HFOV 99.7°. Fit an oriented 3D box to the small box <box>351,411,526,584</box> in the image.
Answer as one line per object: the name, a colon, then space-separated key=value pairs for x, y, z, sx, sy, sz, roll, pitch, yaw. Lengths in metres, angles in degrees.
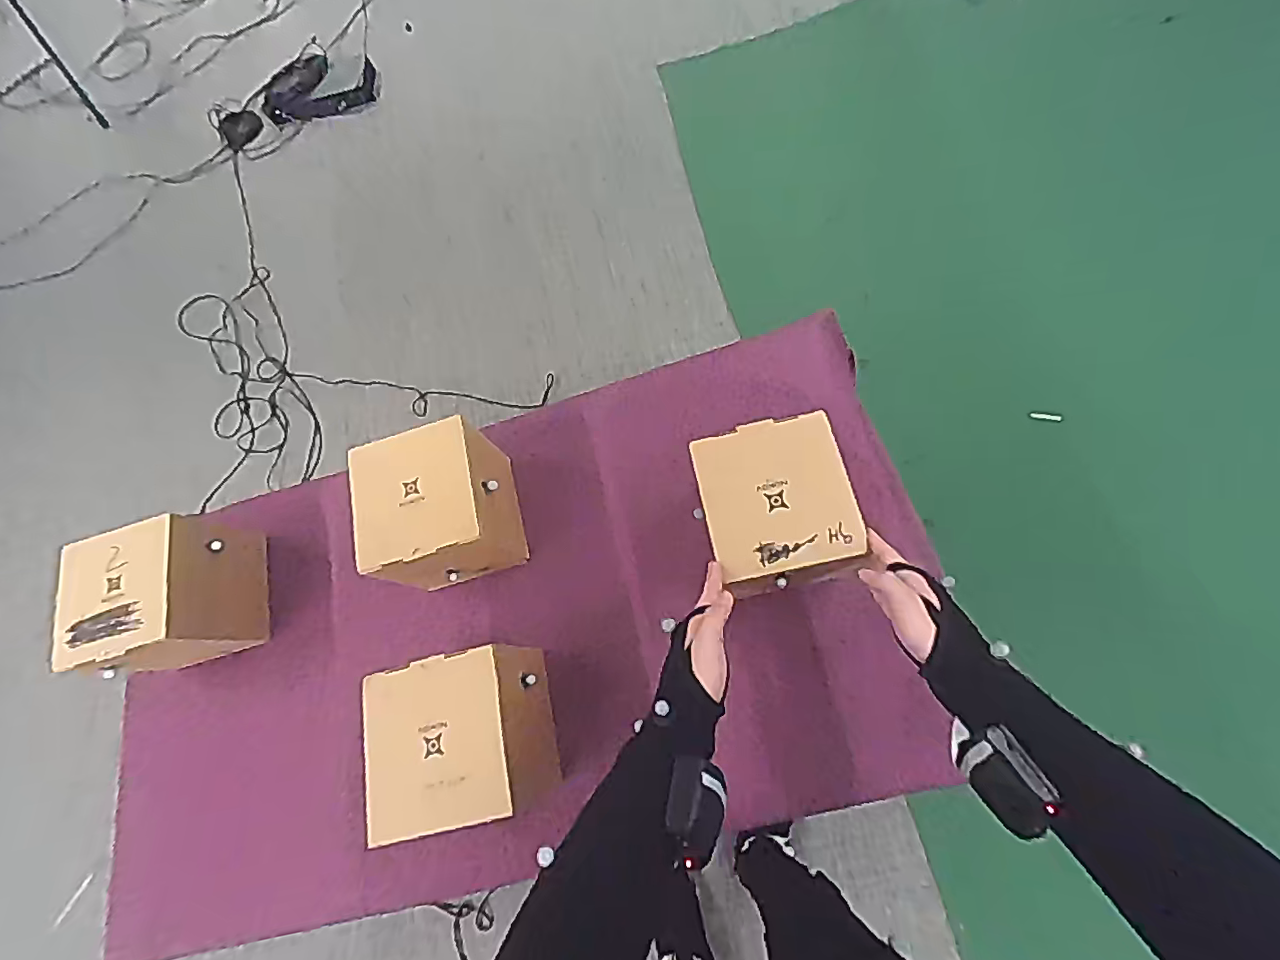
small box: x=-0.274 y=0.034 z=0.758 sx=0.168 sy=0.176 sz=0.179 roll=-16 pitch=71 yaw=3

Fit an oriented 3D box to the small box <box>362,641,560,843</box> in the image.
small box: x=-0.208 y=0.305 z=0.655 sx=0.168 sy=0.176 sz=0.179 roll=-15 pitch=69 yaw=5

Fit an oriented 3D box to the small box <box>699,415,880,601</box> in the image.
small box: x=0.172 y=0.045 z=0.677 sx=0.168 sy=0.176 sz=0.179 roll=-12 pitch=71 yaw=6
